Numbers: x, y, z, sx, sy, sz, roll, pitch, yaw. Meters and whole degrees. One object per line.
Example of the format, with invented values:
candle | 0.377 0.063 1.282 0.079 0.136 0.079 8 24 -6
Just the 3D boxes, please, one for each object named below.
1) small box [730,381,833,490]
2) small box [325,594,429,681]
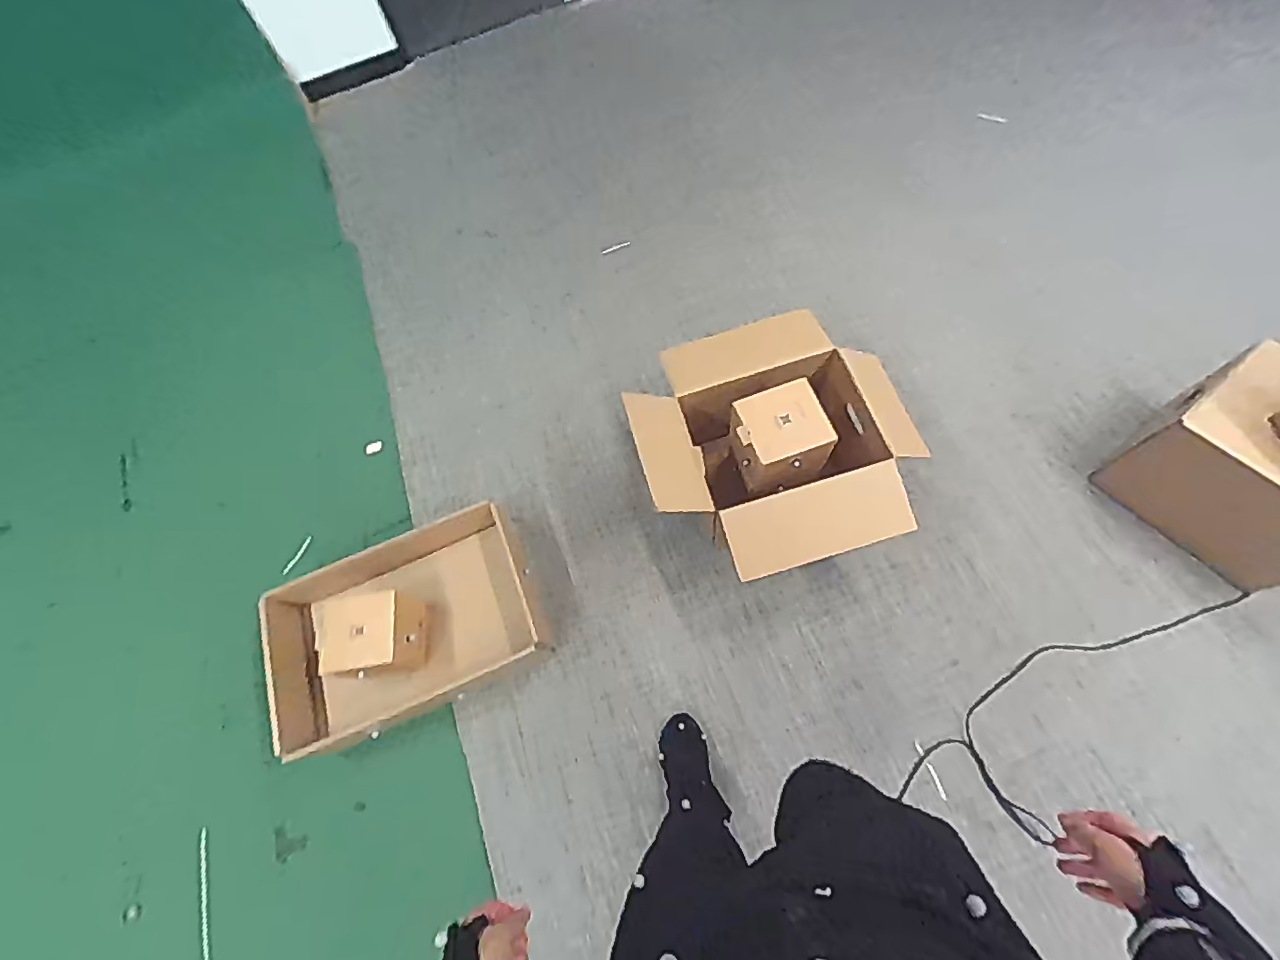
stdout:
small box | 0.318 -0.096 1.260 0.179 0.176 0.168 -20 68 -2
small box | -0.631 0.389 1.320 0.179 0.176 0.168 -11 65 1
